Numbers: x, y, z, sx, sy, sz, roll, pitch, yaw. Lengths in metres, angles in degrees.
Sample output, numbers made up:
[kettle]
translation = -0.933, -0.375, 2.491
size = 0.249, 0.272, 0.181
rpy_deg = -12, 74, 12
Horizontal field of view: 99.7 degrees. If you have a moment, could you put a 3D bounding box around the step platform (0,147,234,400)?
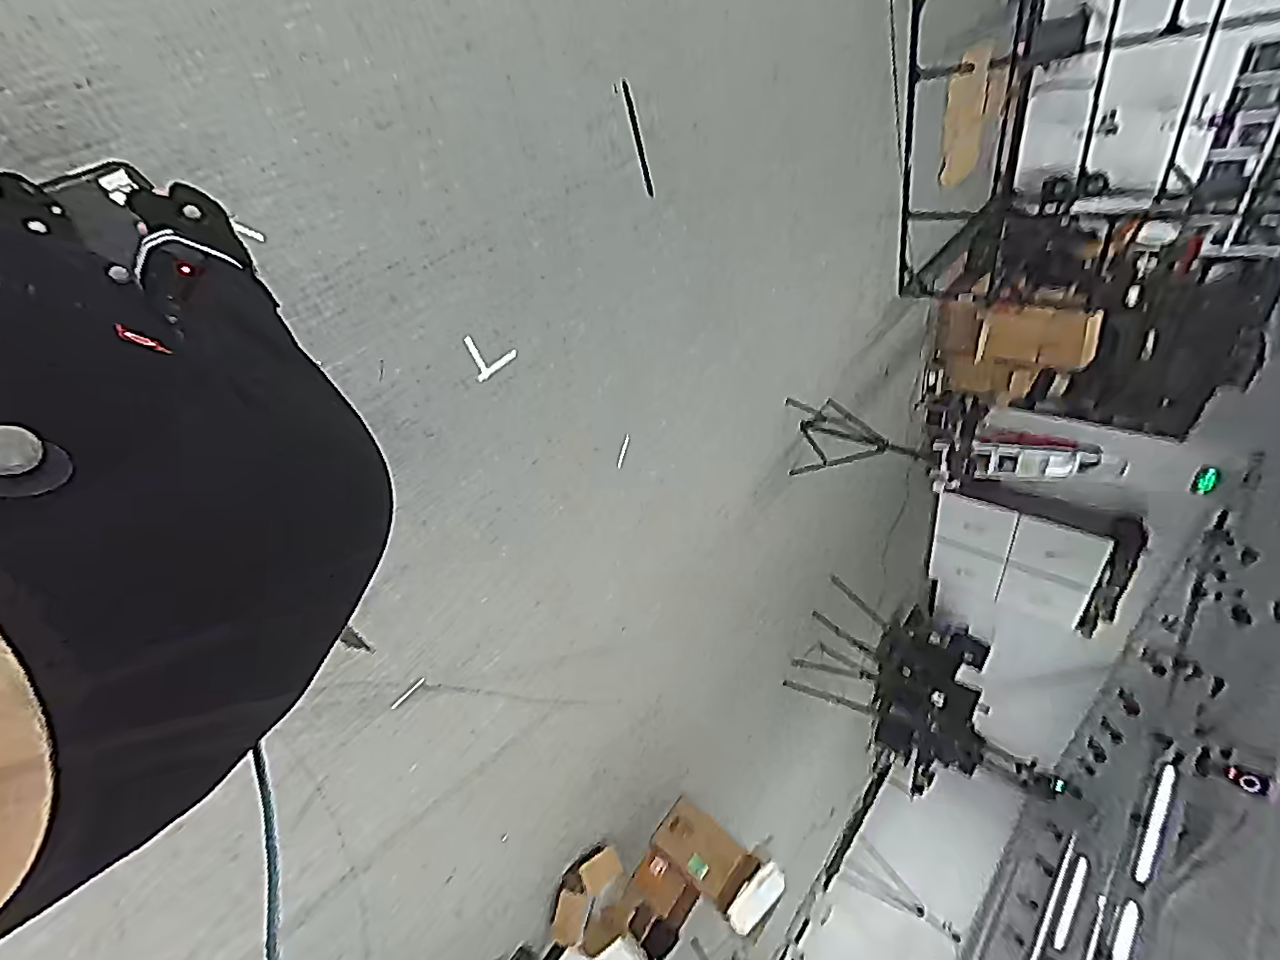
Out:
[step platform]
translation = -1.180, -0.361, 1.018
size = 0.684, 0.204, 0.286
rpy_deg = -45, 136, -26
